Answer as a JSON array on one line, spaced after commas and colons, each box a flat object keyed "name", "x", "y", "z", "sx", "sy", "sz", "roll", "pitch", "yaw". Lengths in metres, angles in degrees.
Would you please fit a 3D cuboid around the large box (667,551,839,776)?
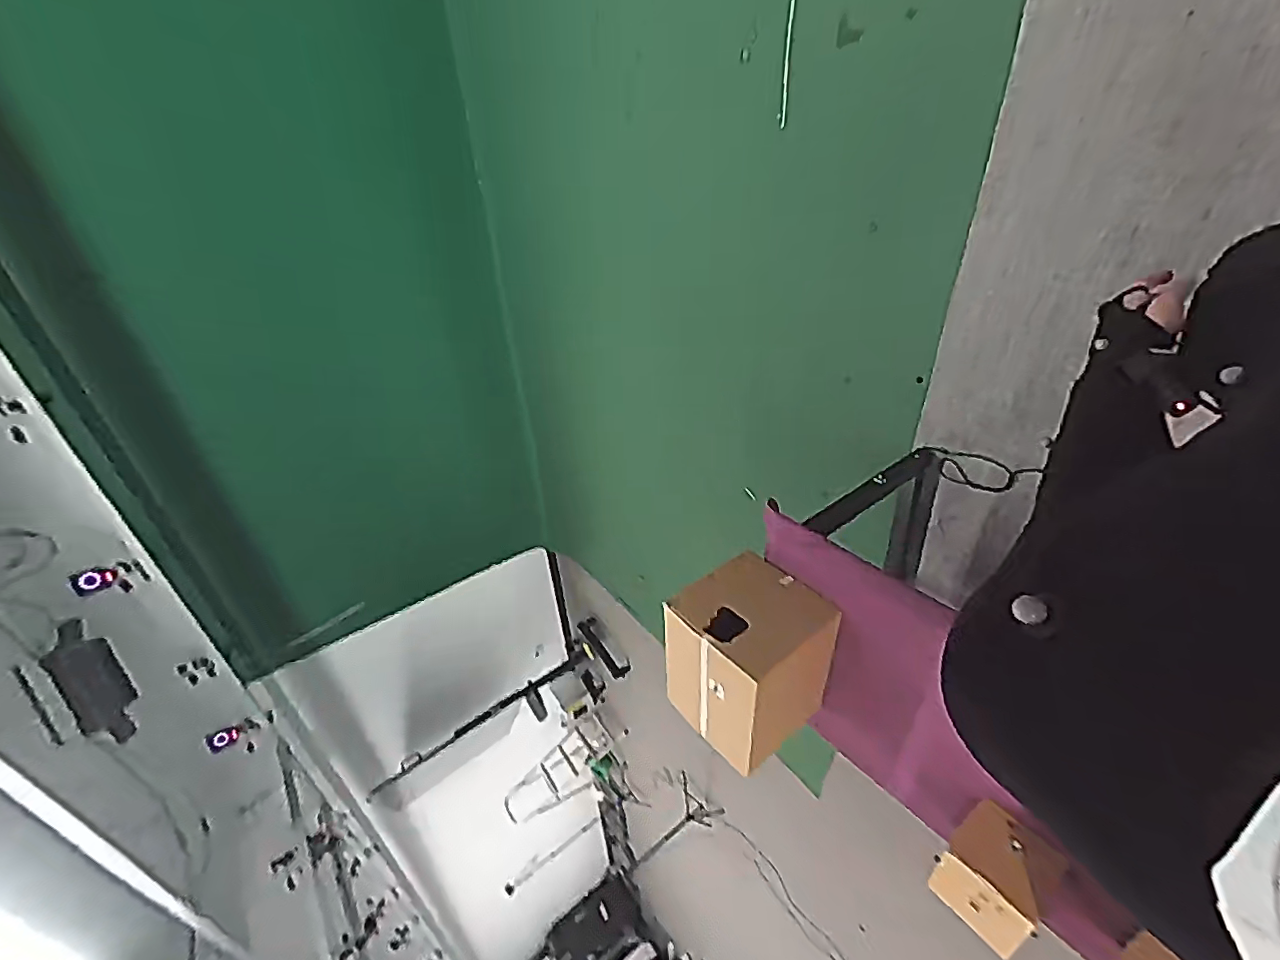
[{"name": "large box", "x": 0.289, "y": 0.472, "z": 1.437, "sx": 0.320, "sy": 0.320, "sz": 0.408, "roll": 32, "pitch": 137, "yaw": 42}]
